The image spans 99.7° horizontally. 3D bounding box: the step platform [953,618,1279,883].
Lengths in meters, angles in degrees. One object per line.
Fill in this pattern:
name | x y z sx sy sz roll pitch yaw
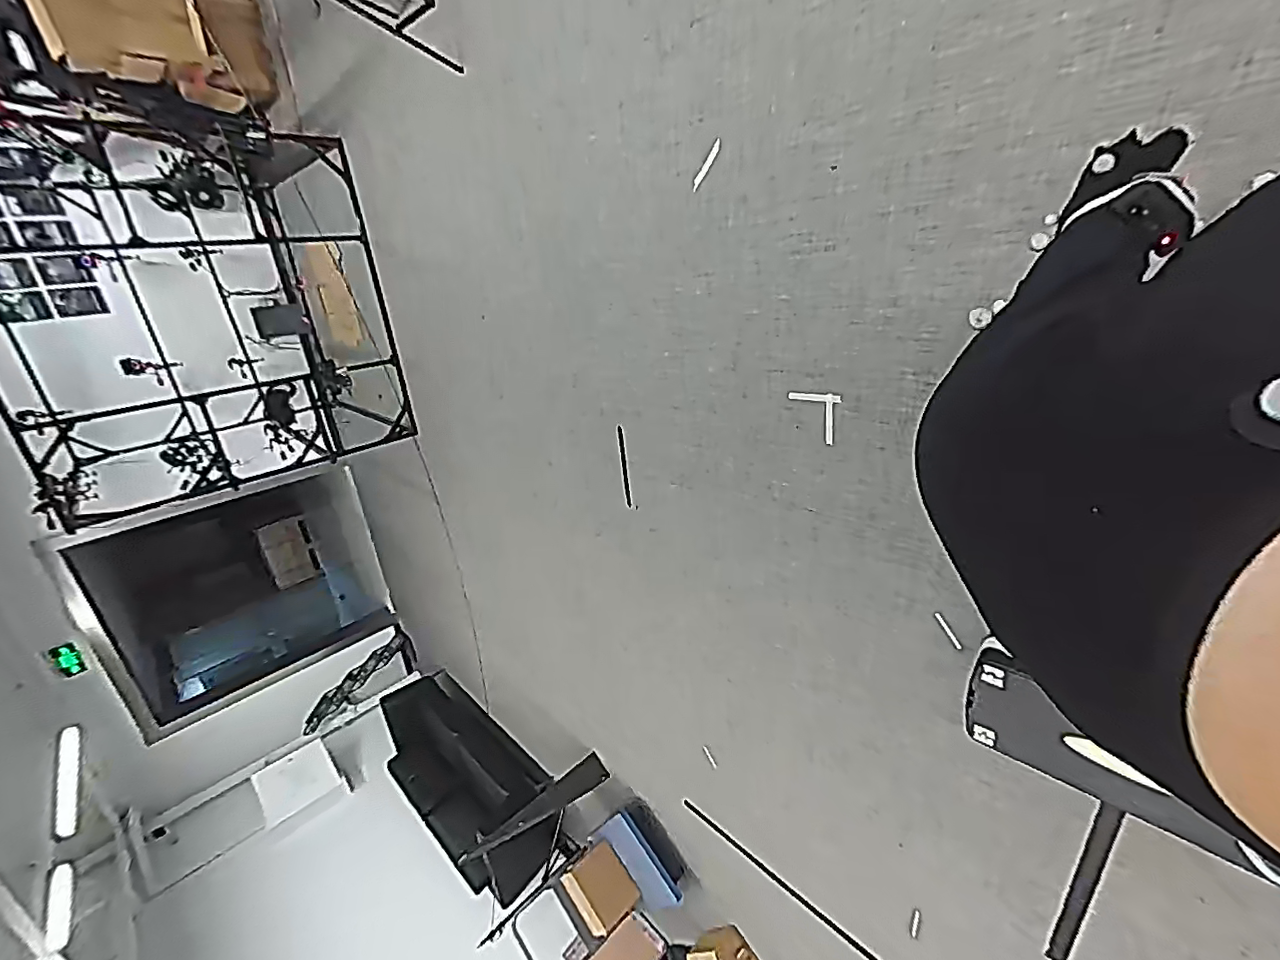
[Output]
step platform | 1.127 0.591 1.263 0.684 0.204 0.286 16 121 45
